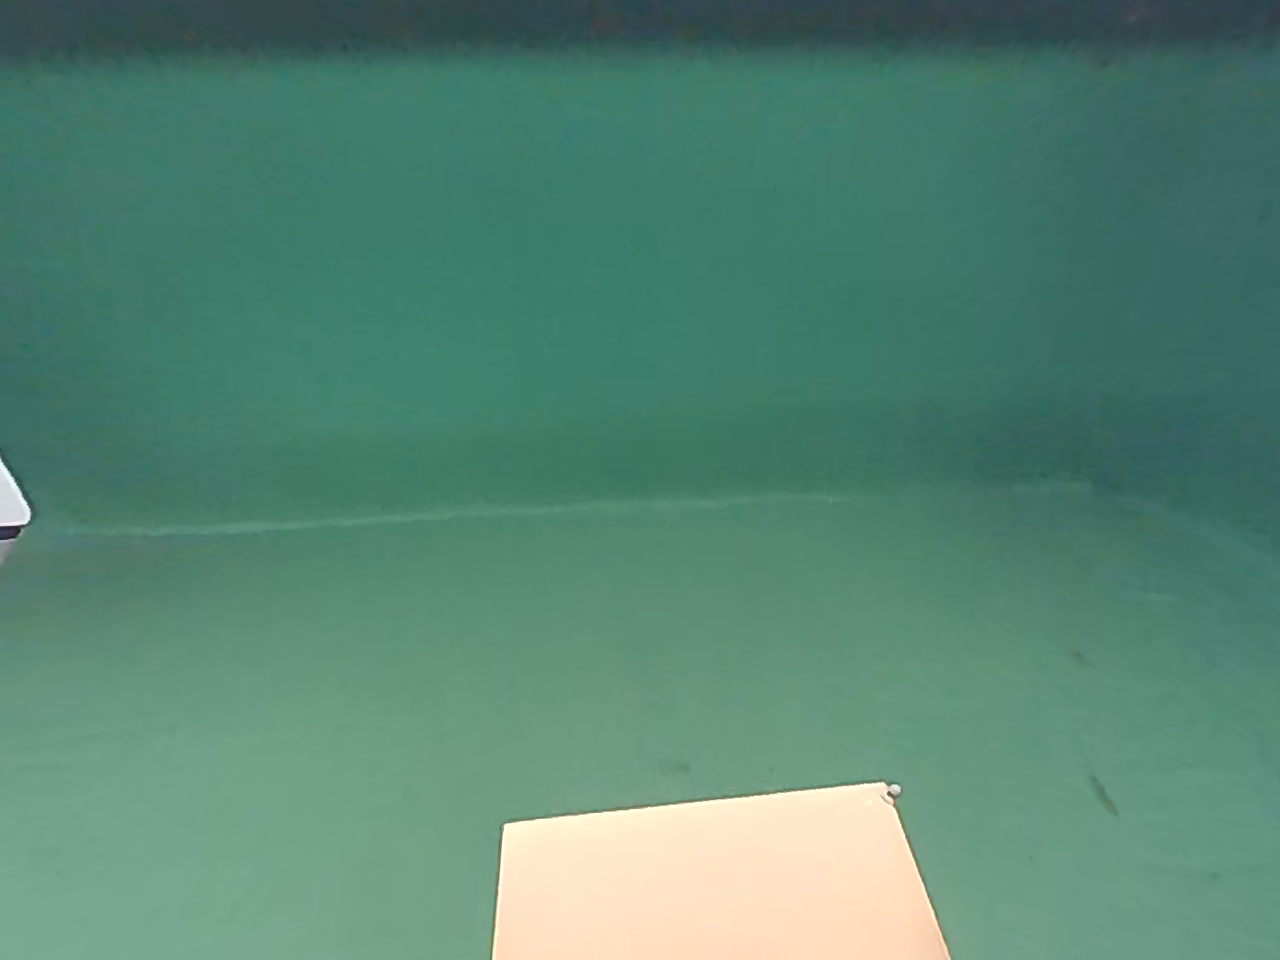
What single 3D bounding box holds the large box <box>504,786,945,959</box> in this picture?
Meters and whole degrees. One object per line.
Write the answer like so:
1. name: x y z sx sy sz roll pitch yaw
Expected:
1. large box: 0.079 0.562 0.570 0.408 0.320 0.320 -5 46 -4
